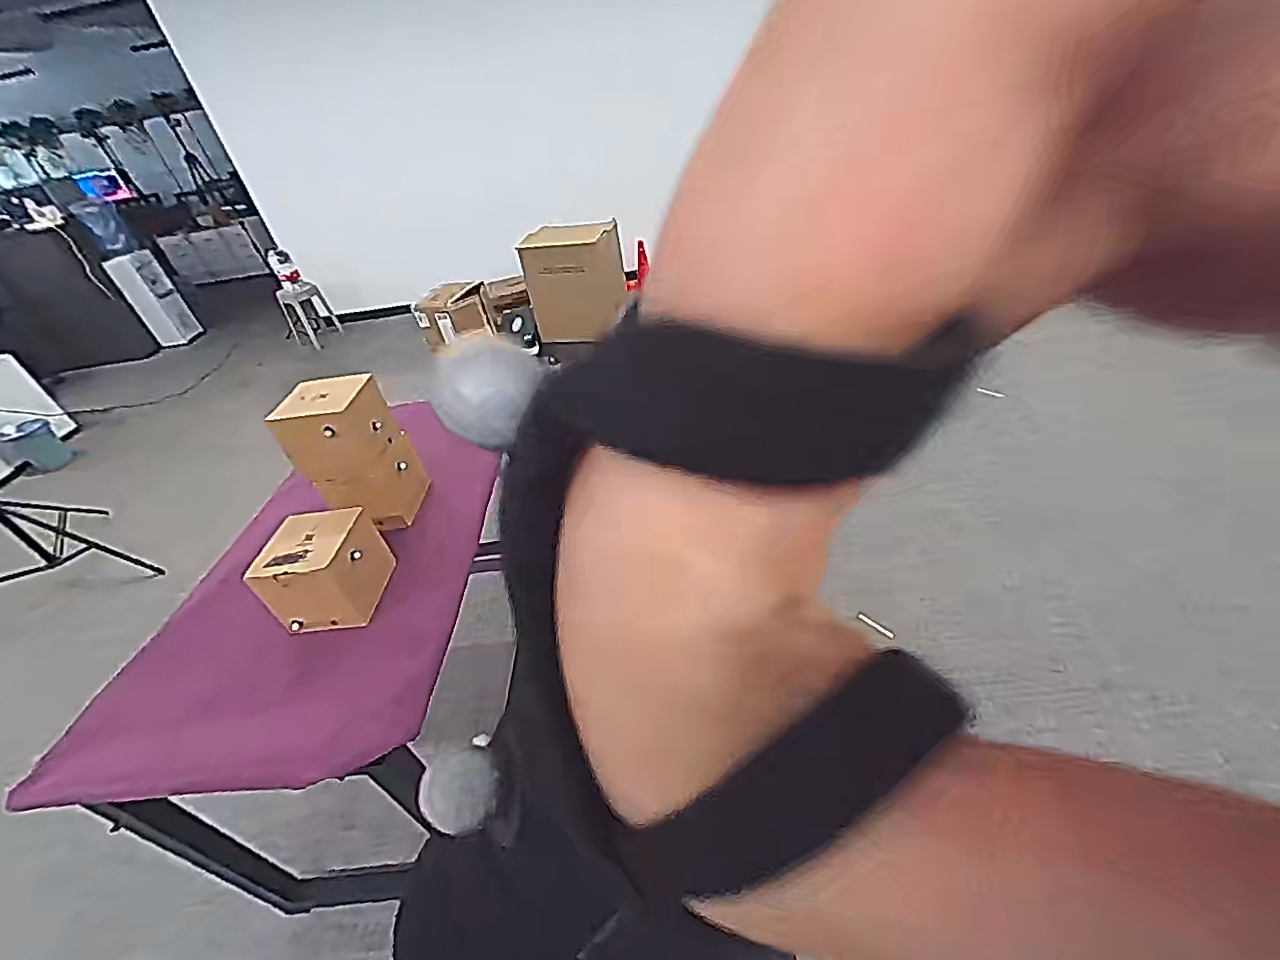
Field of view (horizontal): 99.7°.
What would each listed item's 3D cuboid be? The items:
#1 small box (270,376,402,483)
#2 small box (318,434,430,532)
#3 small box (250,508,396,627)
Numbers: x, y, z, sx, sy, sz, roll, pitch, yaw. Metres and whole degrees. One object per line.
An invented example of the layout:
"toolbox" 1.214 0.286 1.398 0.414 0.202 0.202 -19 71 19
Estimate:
"small box" -0.671 -0.112 1.222 0.179 0.176 0.168 -7 38 5
"small box" -0.639 0.010 1.328 0.168 0.176 0.179 -7 38 5
"small box" -0.628 0.184 1.102 0.168 0.176 0.179 -7 37 5
